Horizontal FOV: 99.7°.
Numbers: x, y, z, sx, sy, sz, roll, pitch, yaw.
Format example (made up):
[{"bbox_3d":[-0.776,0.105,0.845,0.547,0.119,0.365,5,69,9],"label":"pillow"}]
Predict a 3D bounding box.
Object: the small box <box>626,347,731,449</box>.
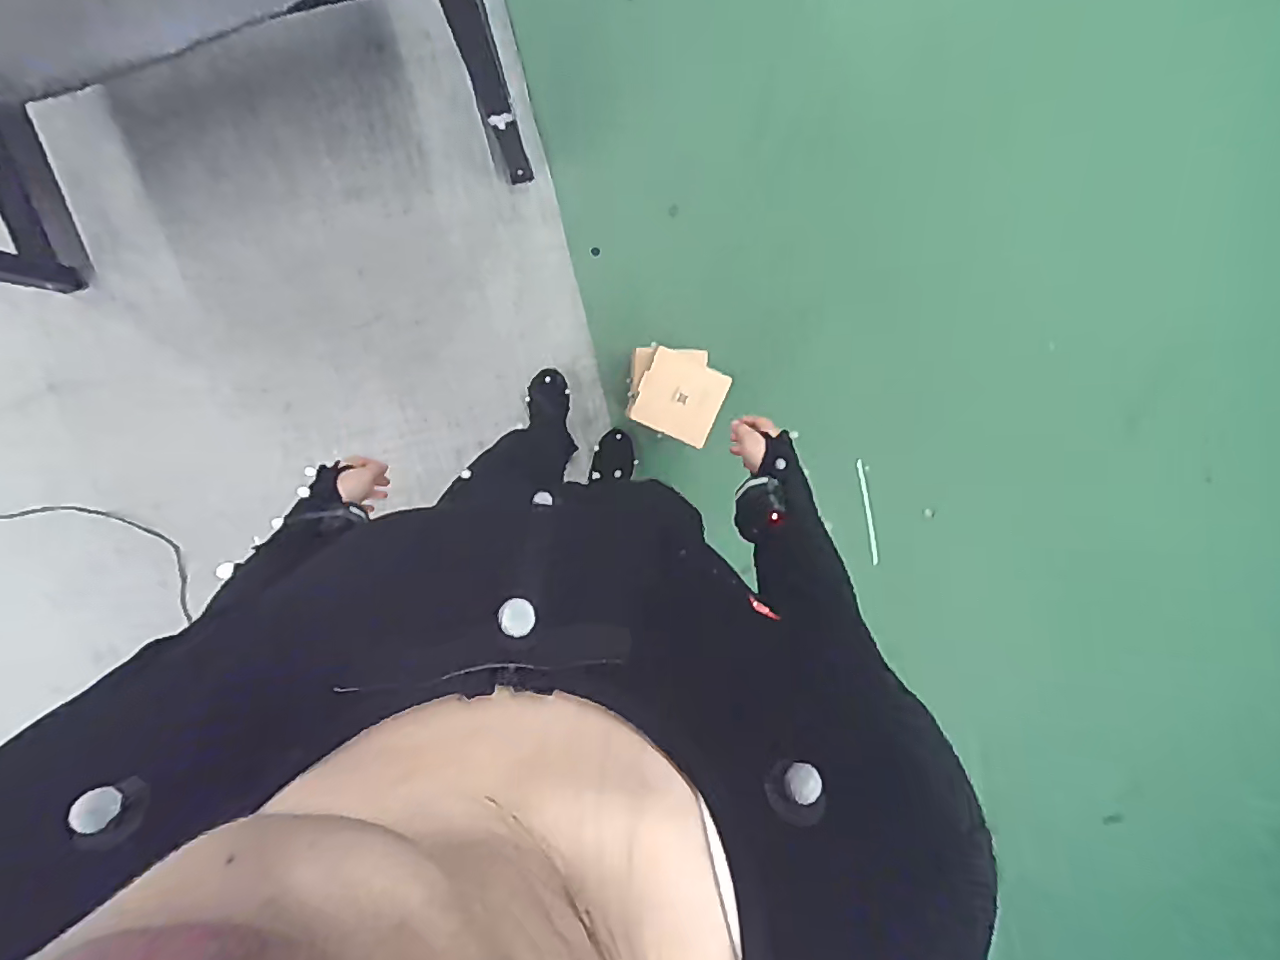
[{"bbox_3d":[0.076,-0.183,1.212,0.179,0.176,0.168,22,98,-8],"label":"small box"}]
